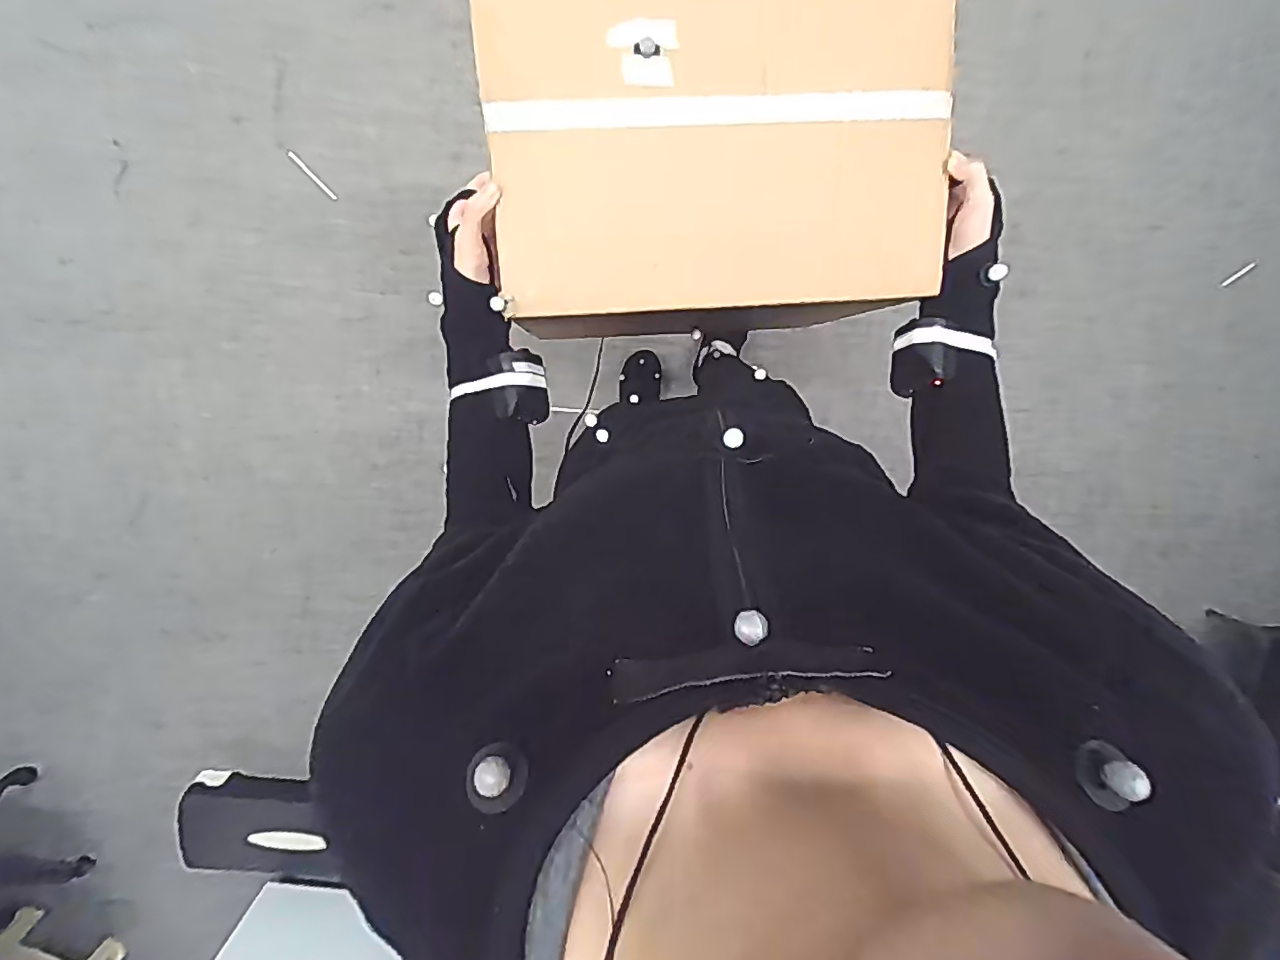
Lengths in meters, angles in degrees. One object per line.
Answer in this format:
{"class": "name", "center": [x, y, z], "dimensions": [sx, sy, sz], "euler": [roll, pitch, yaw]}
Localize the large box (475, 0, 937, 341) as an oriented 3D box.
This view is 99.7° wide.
{"class": "large box", "center": [0.058, -0.337, 0.624], "dimensions": [0.408, 0.320, 0.320], "euler": [-4, 100, -4]}
